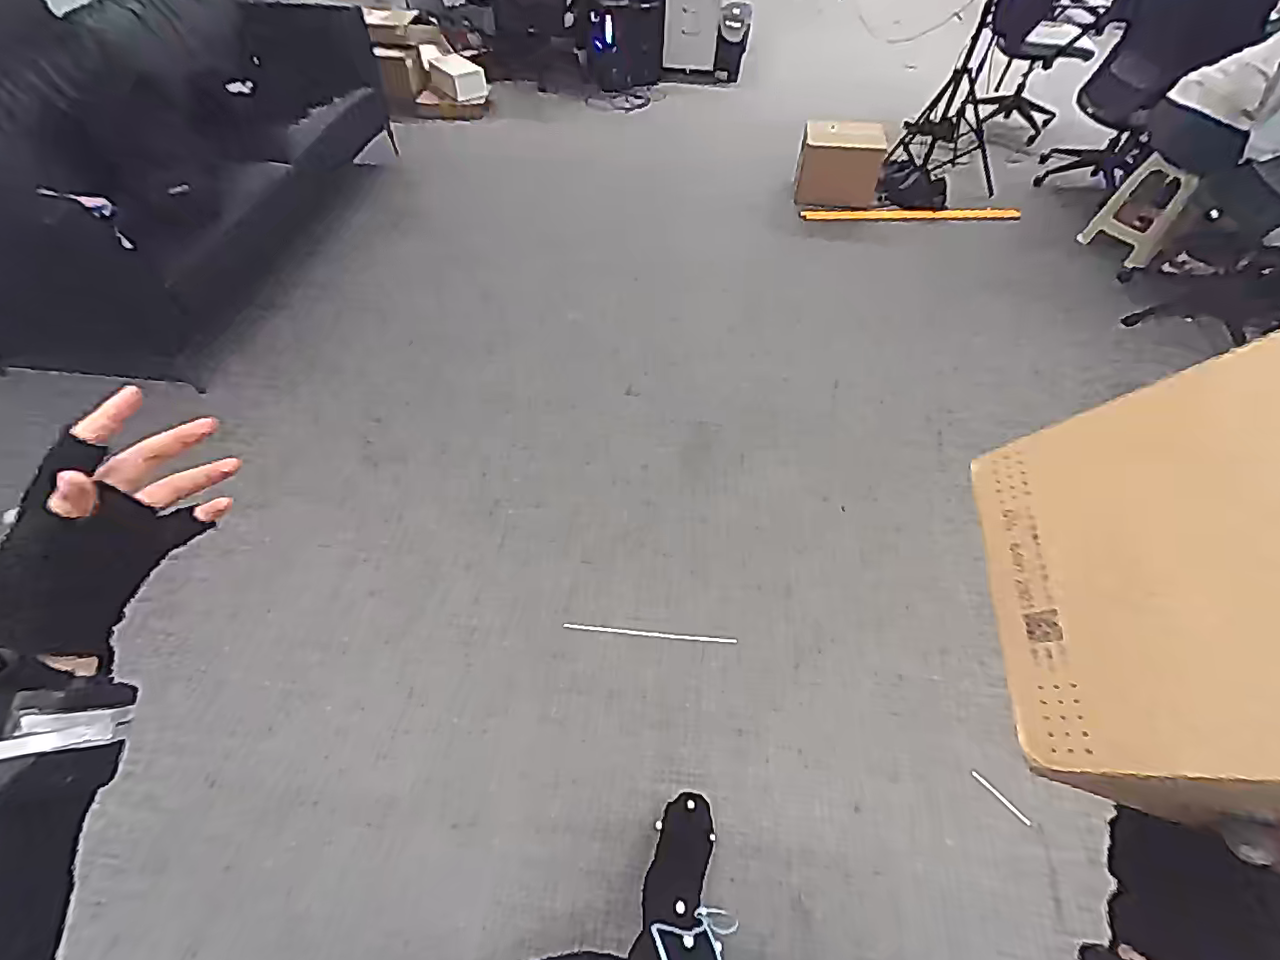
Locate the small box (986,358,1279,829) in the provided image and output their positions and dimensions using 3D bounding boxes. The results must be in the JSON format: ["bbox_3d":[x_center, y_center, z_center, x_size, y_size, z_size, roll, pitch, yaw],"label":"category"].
[{"bbox_3d":[0.295,0.057,0.243,0.179,0.176,0.168,25,57,-22],"label":"small box"}]
